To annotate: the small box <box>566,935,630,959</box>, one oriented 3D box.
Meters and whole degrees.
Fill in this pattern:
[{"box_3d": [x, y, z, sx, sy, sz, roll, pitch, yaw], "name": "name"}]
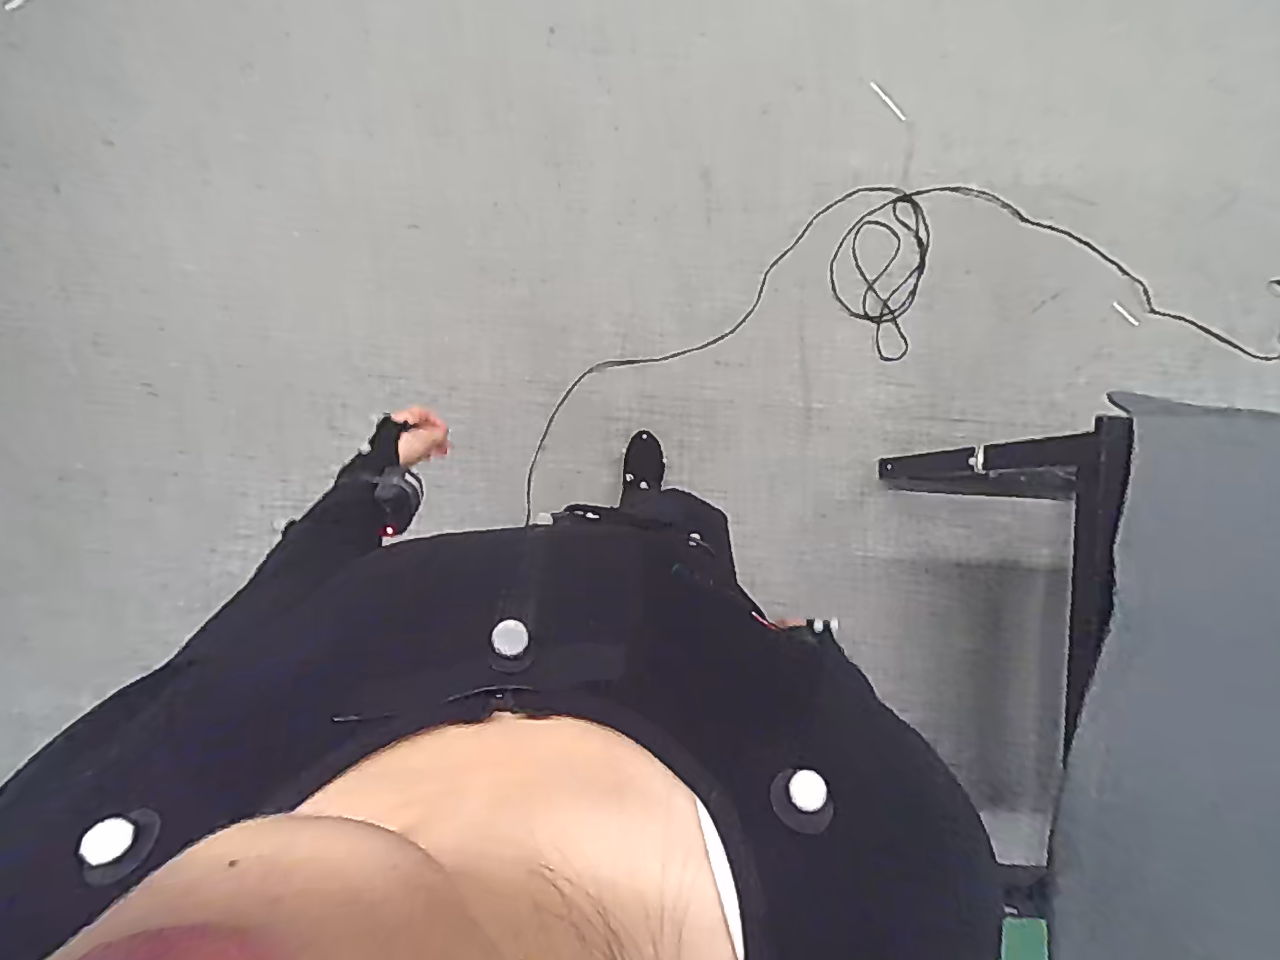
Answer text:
[{"box_3d": [-0.107, 1.314, 1.369, 0.168, 0.176, 0.179, -40, 90, -1], "name": "small box"}]
